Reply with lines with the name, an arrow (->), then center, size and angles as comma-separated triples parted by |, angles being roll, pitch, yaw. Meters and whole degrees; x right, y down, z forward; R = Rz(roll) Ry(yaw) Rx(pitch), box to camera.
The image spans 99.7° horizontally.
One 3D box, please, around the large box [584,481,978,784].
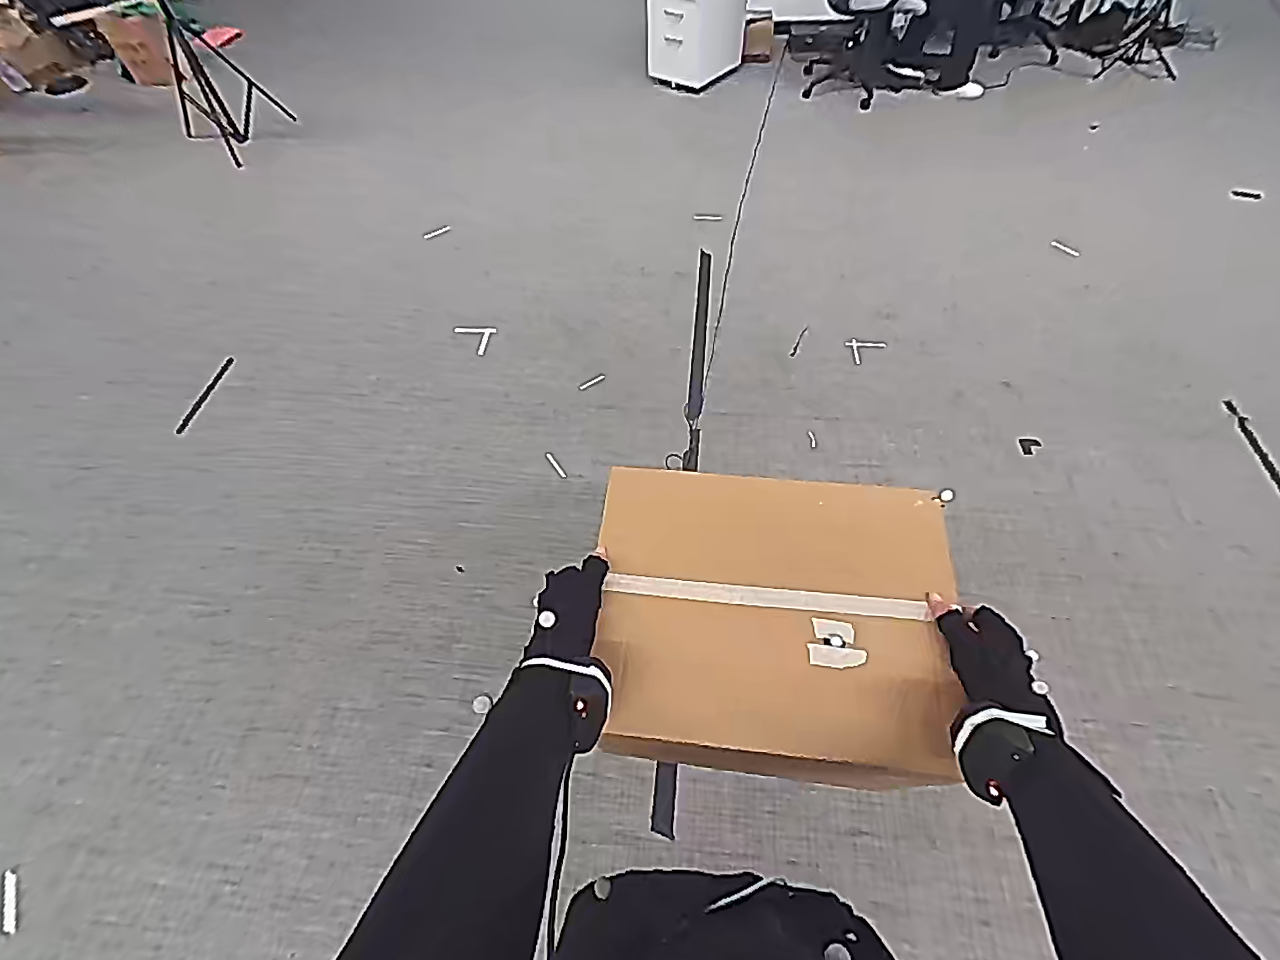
large box -> 0.156, 0.221, 0.748 | 0.408, 0.320, 0.320 | 4, 60, 5
